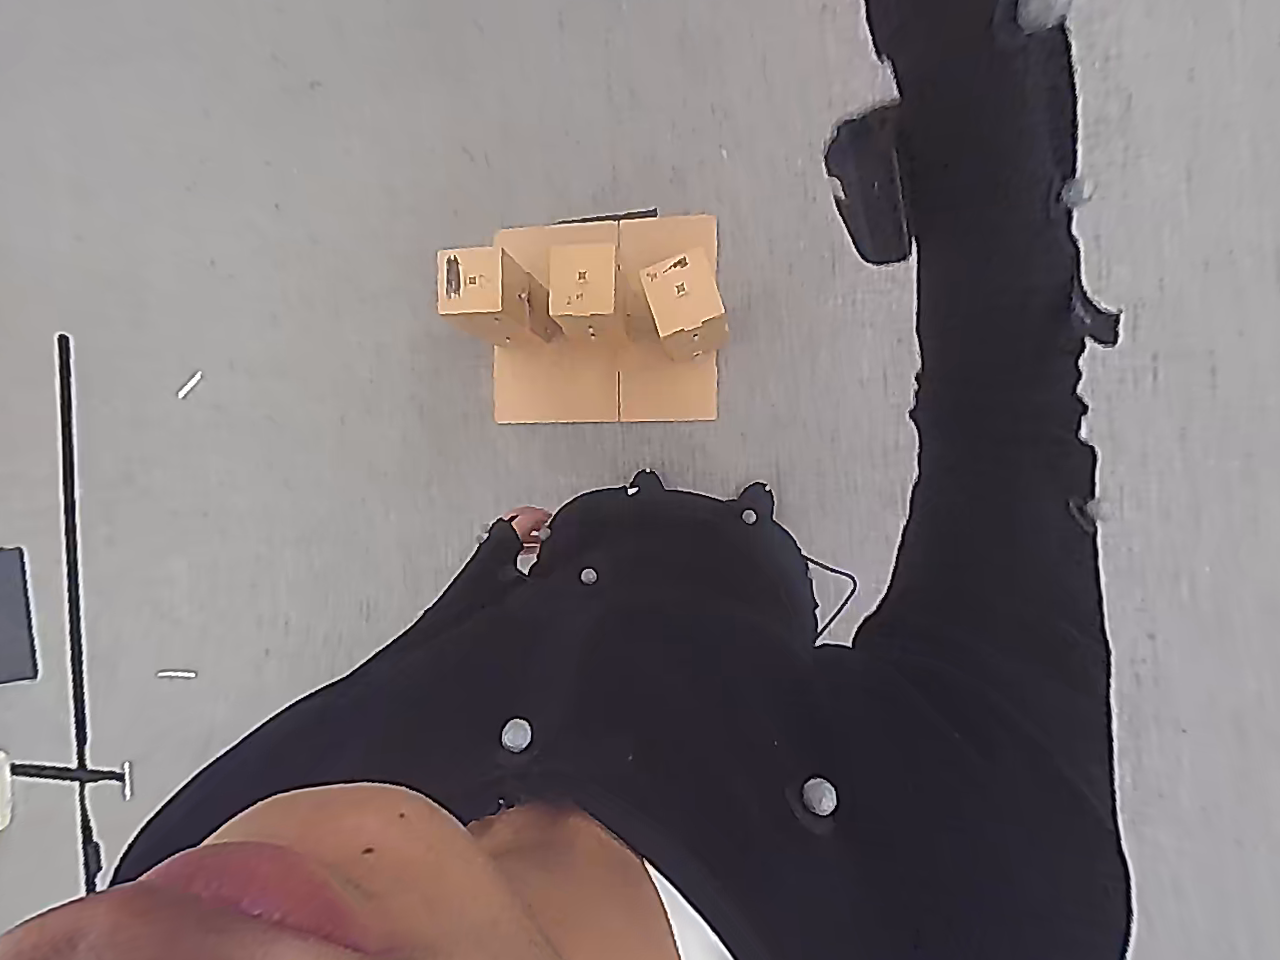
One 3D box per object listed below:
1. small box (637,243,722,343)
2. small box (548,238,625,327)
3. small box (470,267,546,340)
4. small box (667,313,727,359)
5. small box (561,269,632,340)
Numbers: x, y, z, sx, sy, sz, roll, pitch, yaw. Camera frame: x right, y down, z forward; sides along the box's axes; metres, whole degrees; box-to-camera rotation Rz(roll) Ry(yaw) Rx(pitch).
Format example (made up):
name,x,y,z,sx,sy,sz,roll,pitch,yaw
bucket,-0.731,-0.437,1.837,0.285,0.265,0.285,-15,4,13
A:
name,x,y,z,sx,sy,sz,roll,pitch,yaw
small box,0.107,-0.460,1.366,0.168,0.176,0.179,-18,89,9
small box,-0.133,-0.505,1.398,0.168,0.176,0.179,2,92,8
small box,-0.383,-0.516,1.599,0.179,0.176,0.168,0,91,10
small box,0.138,-0.464,1.526,0.168,0.176,0.179,-20,88,9
small box,-0.120,-0.506,1.563,0.179,0.176,0.168,1,92,8
